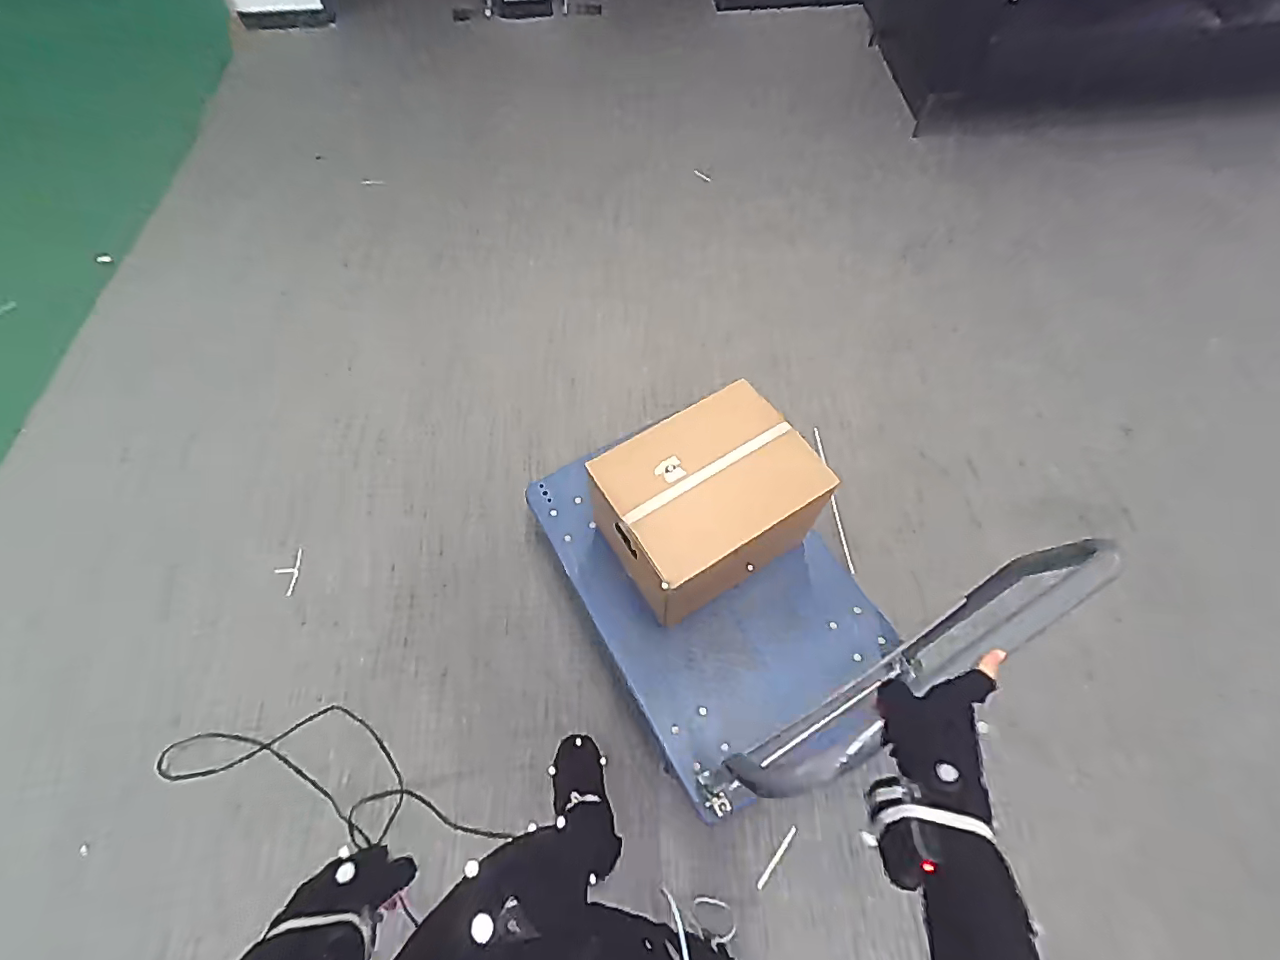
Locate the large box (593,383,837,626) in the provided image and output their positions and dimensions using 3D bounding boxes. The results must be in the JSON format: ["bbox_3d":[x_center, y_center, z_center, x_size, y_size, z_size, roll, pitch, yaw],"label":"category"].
[{"bbox_3d":[0.152,0.062,1.212,0.408,0.320,0.320,-30,65,-14],"label":"large box"}]
